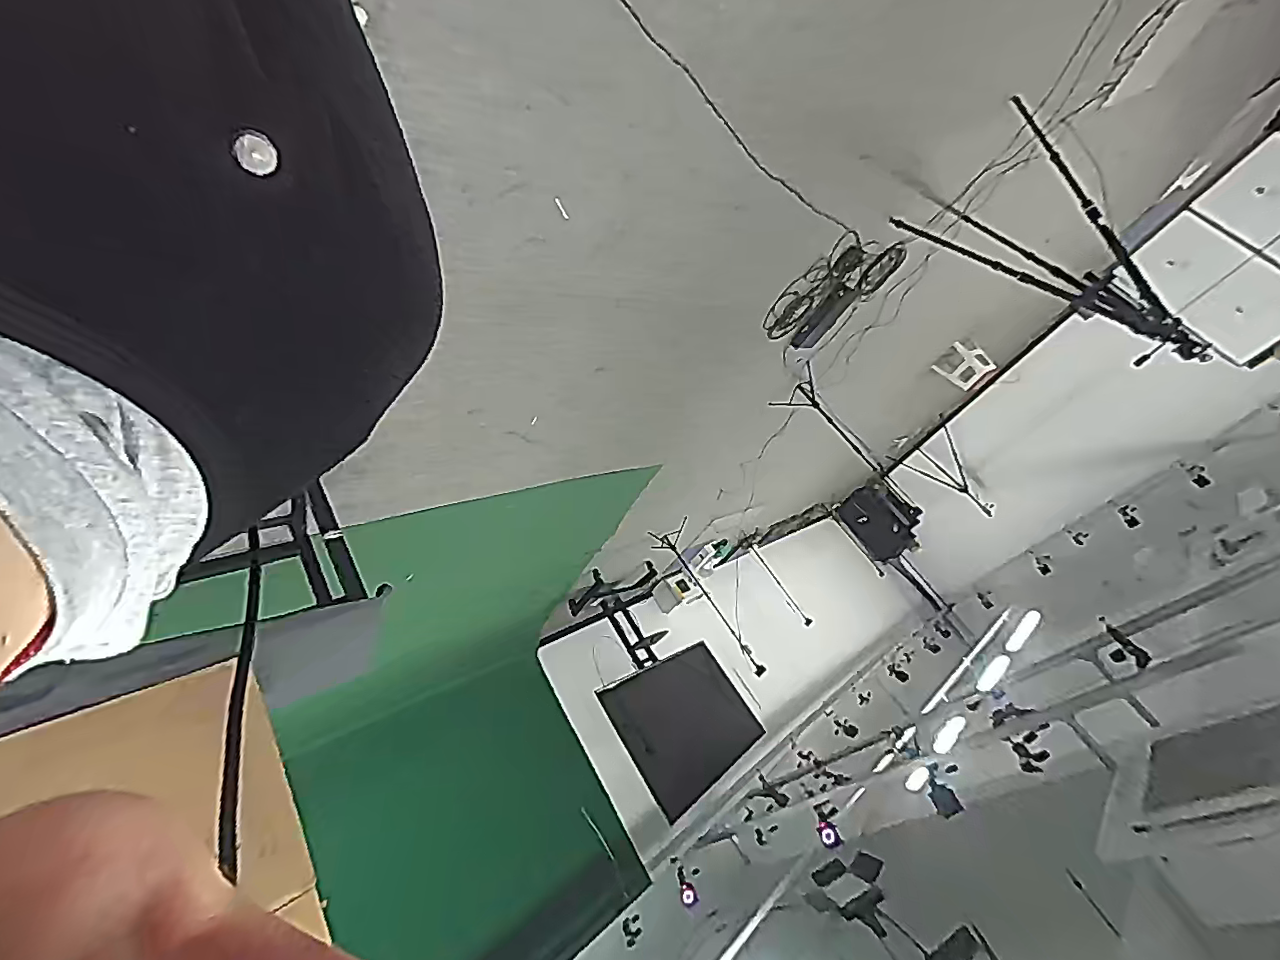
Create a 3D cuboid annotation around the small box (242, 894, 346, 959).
[{"bbox_3d":[-0.811,1.117,1.267,0.168,0.176,0.179,-17,151,-42],"label":"small box"}]
